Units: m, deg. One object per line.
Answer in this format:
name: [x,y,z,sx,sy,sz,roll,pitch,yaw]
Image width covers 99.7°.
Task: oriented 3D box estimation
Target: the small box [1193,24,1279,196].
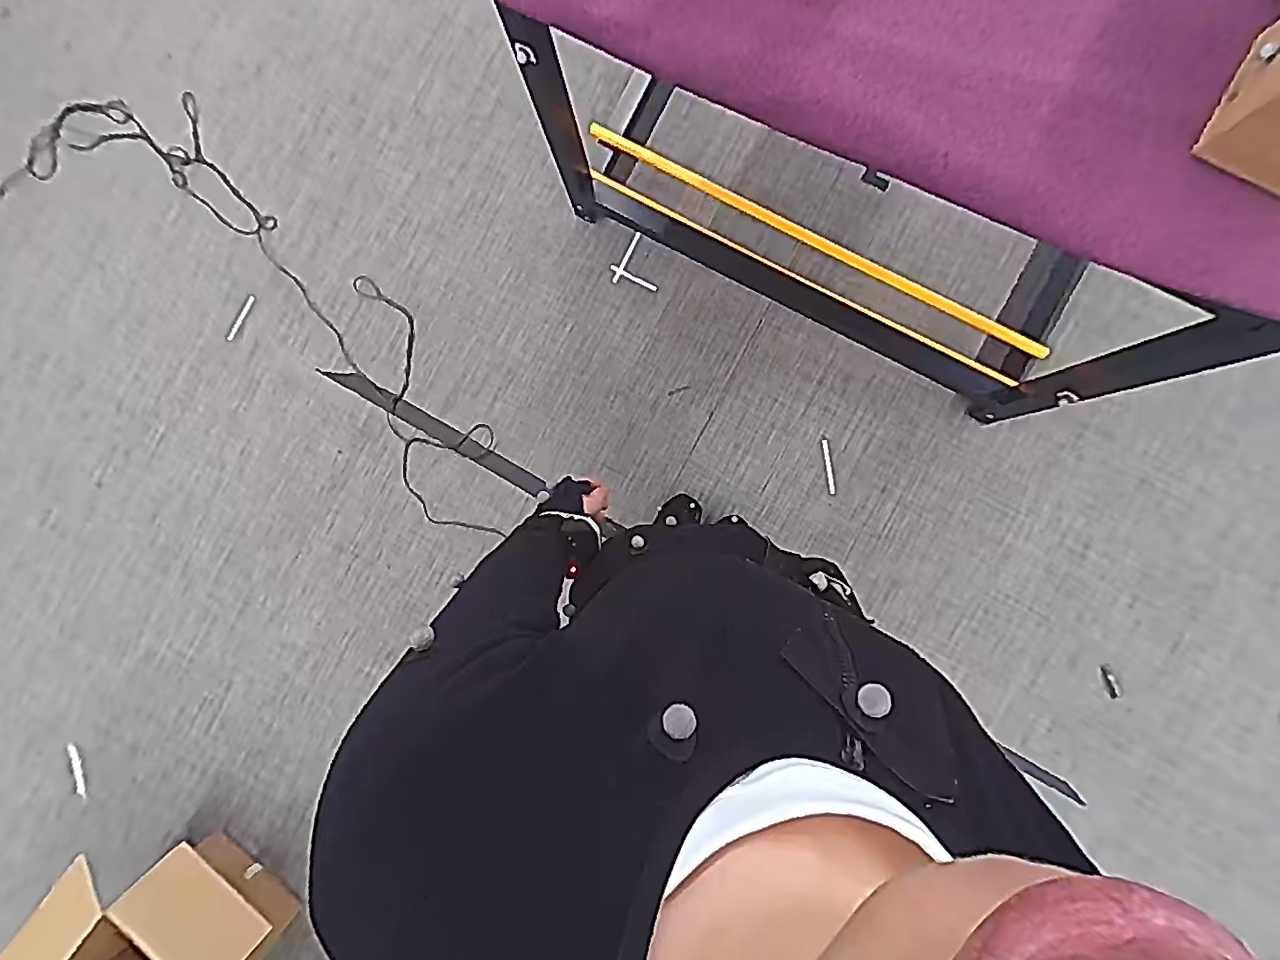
small box: [0.747,-0.410,0.543,0.179,0.176,0.168,30,89,5]
